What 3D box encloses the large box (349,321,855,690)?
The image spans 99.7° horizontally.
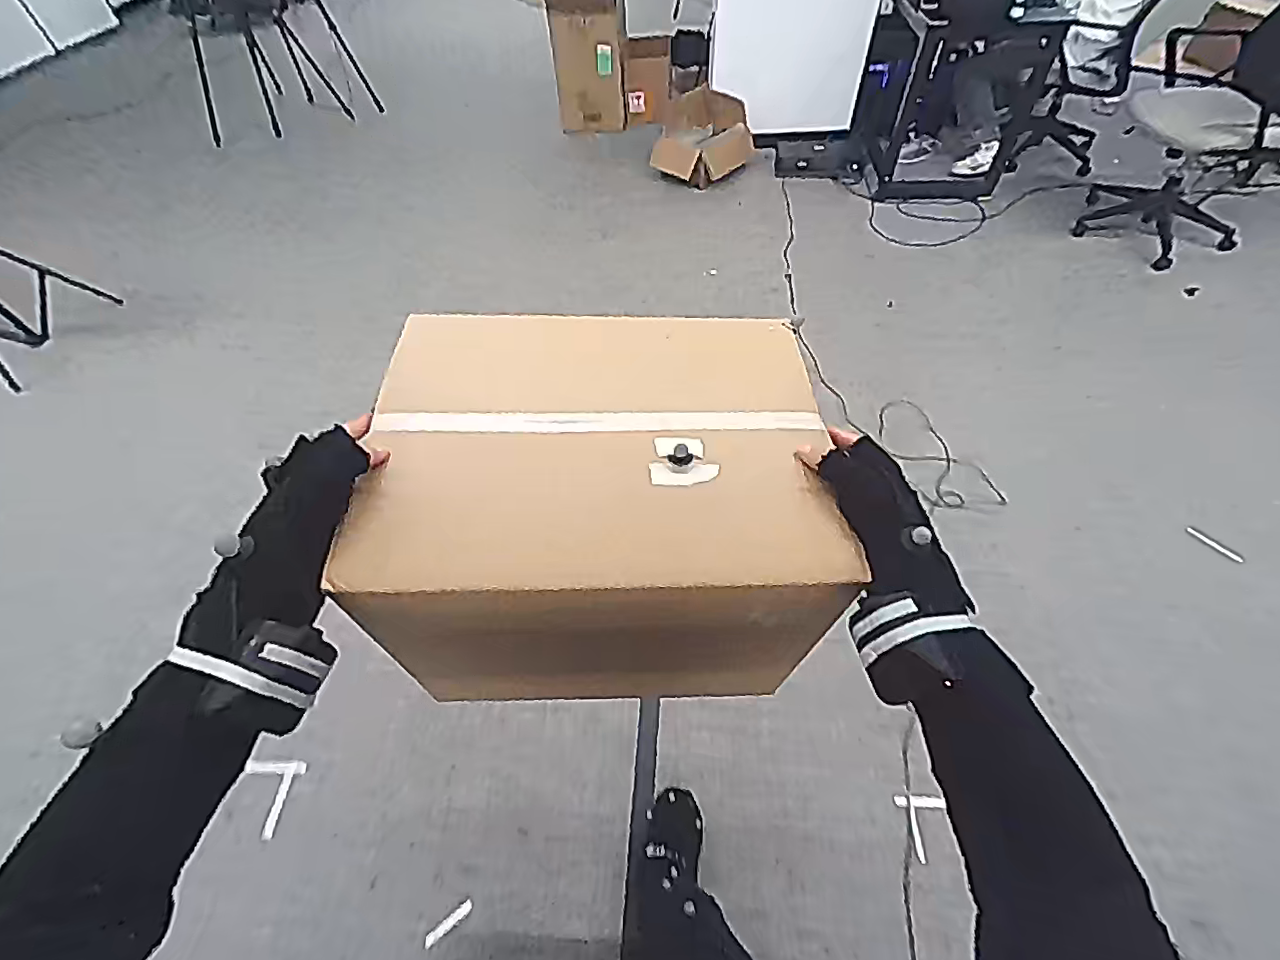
[{"bbox_3d":[-0.038,0.038,0.624,0.408,0.320,0.320,0,54,-3],"label":"large box"}]
